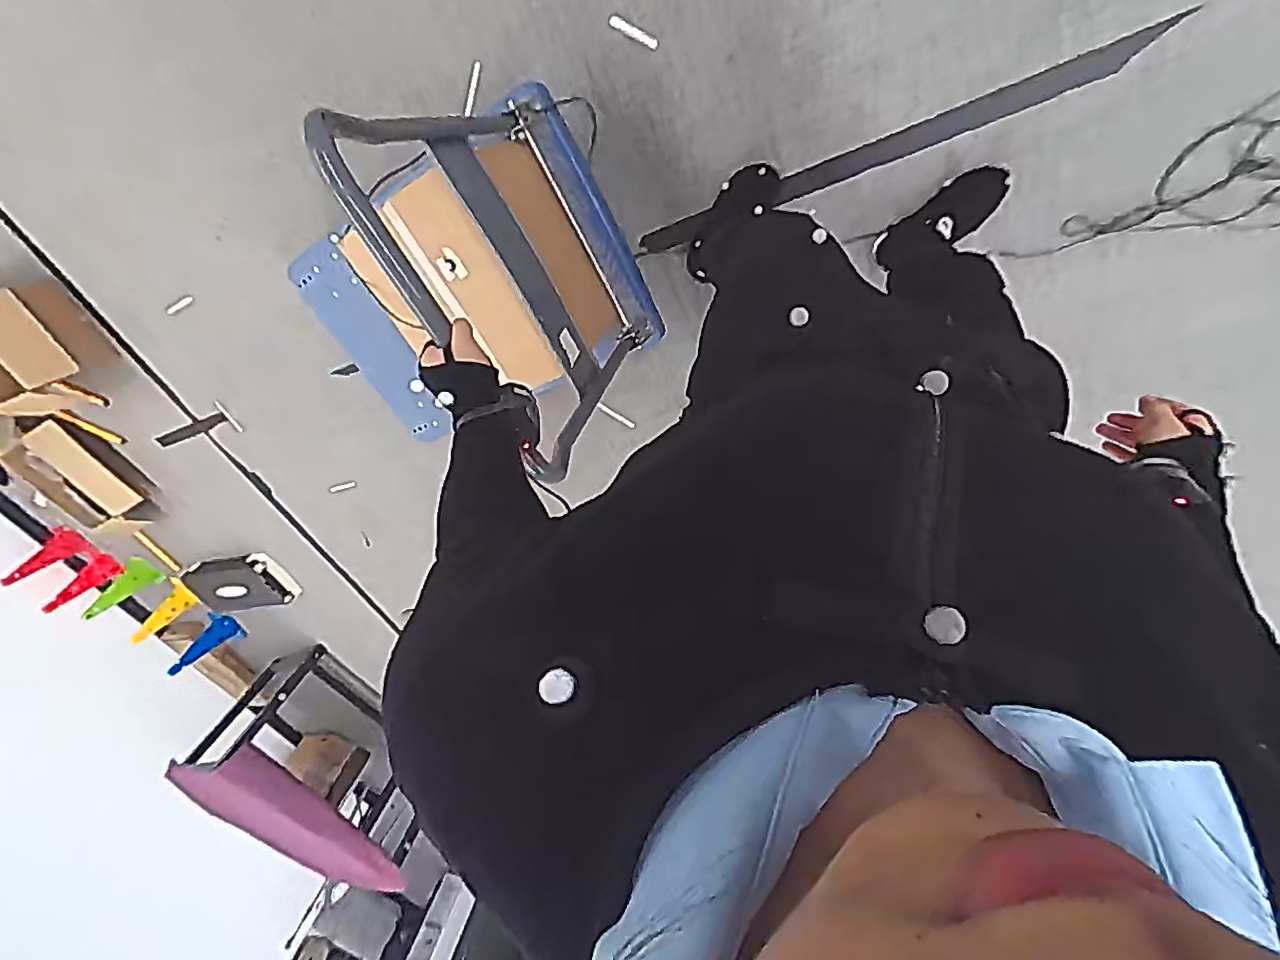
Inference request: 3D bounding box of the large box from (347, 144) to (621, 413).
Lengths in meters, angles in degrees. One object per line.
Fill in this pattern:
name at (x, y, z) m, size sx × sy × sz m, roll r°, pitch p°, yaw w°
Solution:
large box at (-0.297, -0.420, 1.151) m, size 0.320 × 0.320 × 0.408 m, roll -17°, pitch 118°, yaw 27°
